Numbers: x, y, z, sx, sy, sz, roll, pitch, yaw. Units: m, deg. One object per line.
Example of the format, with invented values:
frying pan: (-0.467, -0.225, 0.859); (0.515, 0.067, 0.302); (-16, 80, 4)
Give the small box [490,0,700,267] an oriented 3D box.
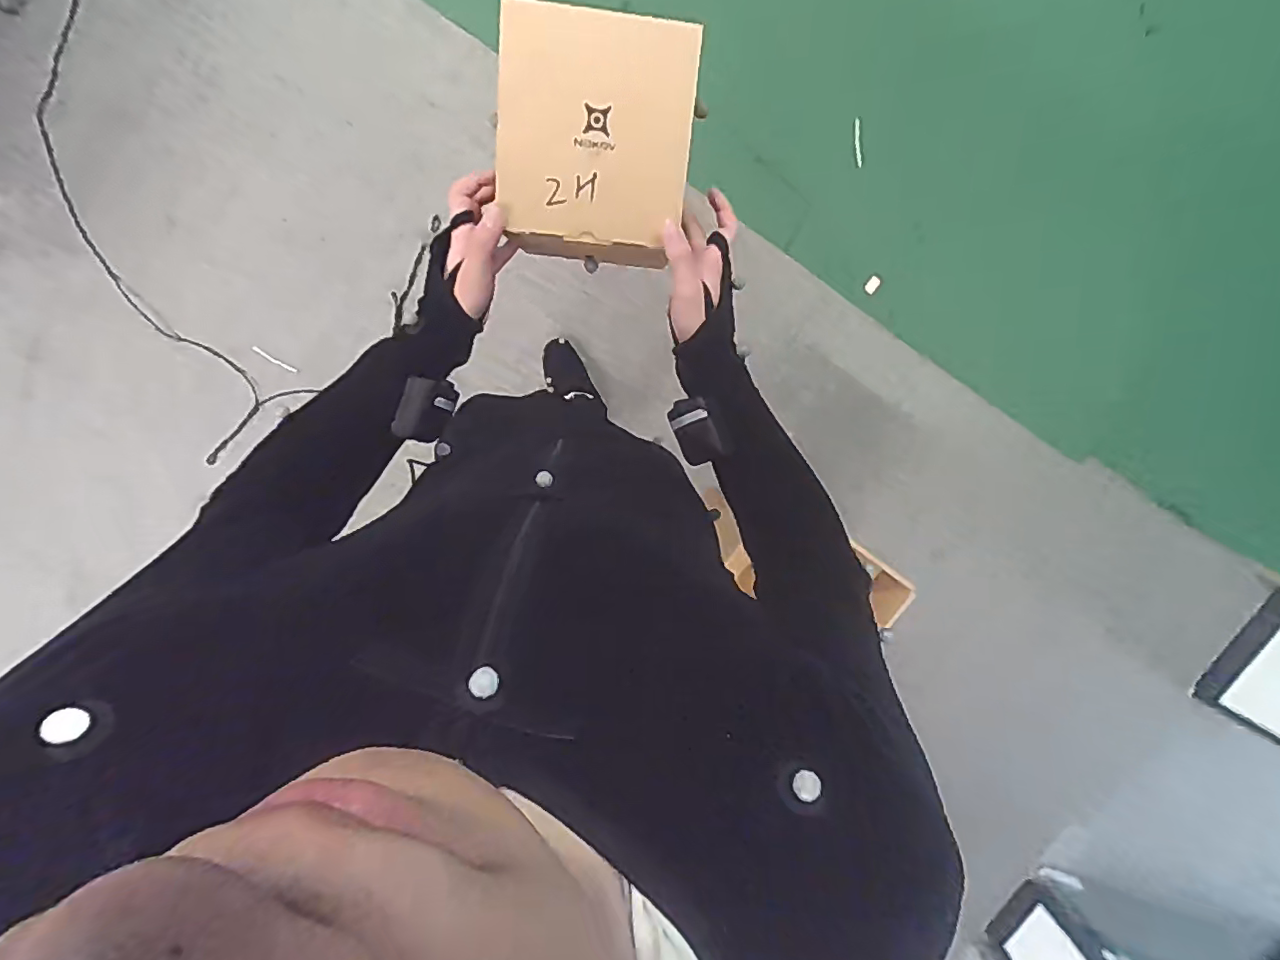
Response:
small box: (-0.044, -0.318, 0.529); (0.168, 0.176, 0.179); (5, 105, -4)
